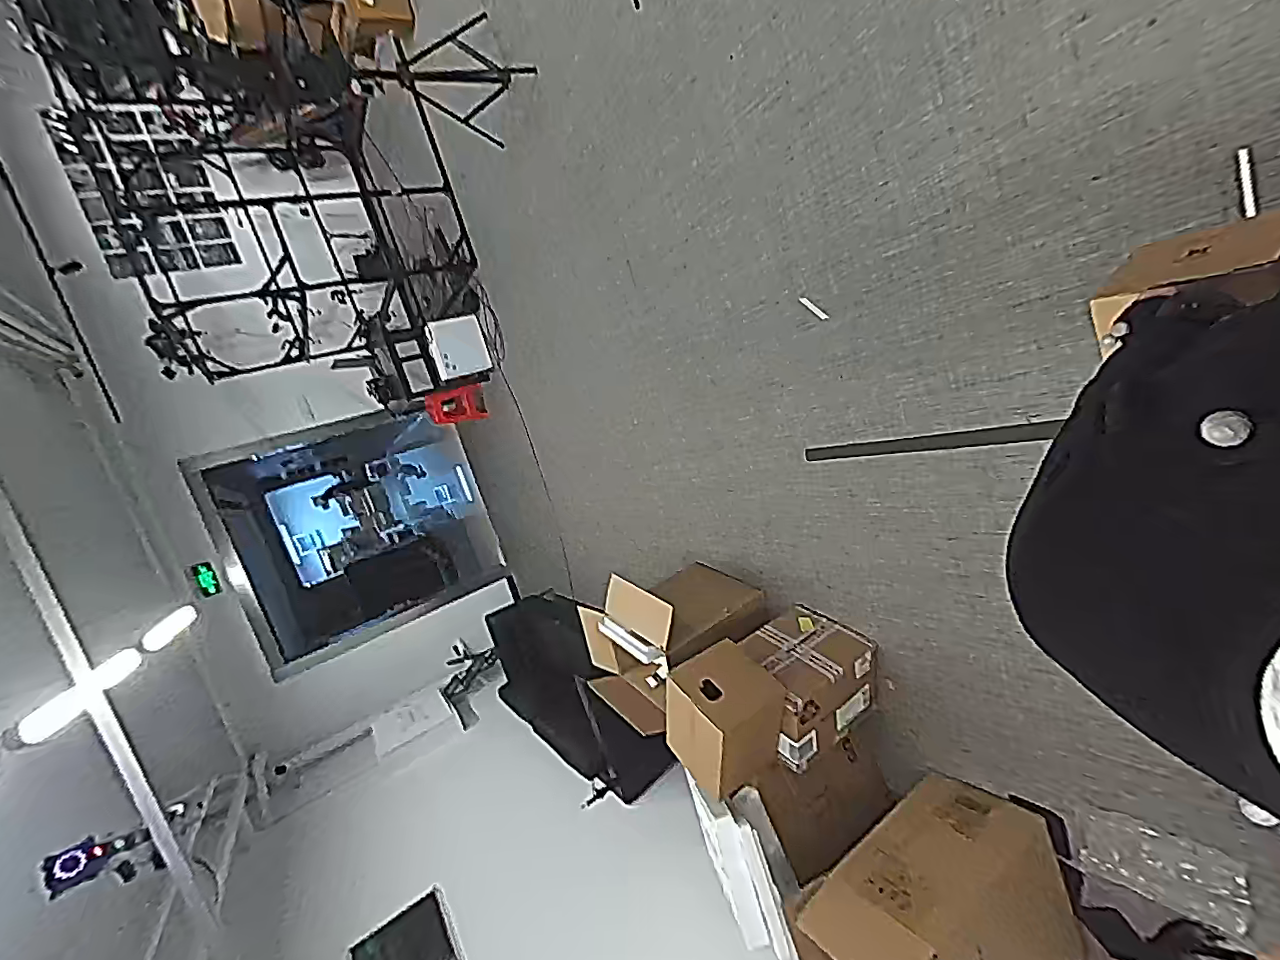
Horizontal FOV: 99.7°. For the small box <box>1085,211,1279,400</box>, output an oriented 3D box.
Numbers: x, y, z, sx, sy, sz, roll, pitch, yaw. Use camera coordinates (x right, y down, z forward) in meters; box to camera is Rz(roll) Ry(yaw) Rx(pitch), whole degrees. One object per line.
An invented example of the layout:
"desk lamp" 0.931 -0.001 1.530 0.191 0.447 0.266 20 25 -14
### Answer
"small box" 0.725 -0.212 0.695 0.168 0.179 0.176 9 132 62
